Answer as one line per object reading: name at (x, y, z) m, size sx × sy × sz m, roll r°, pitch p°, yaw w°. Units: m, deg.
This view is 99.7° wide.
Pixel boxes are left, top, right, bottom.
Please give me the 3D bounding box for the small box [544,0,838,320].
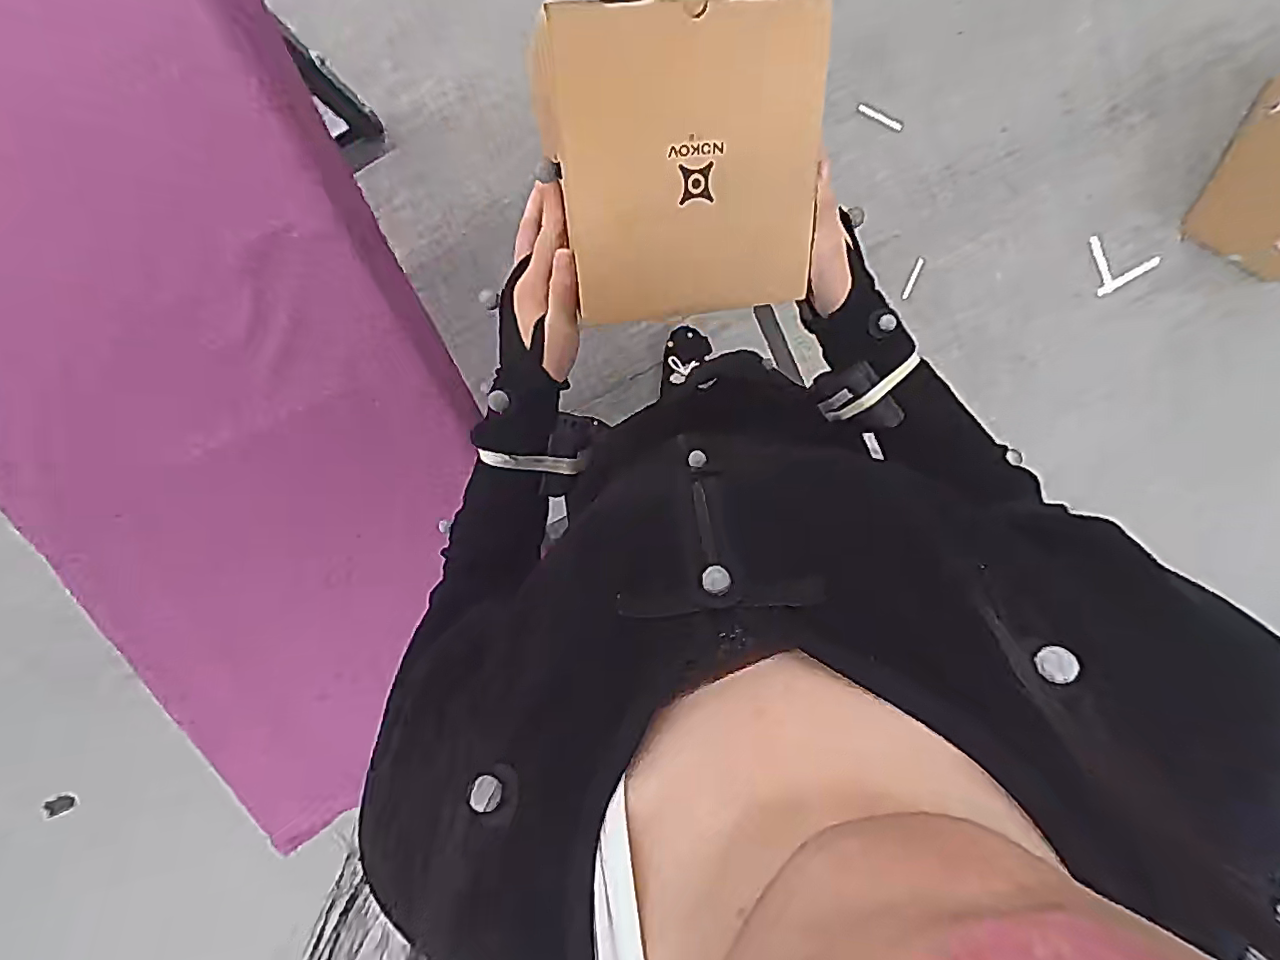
small box at (0.023, -0.237, 0.410) m, size 0.168 × 0.176 × 0.179 m, roll -9°, pitch 122°, yaw -8°
